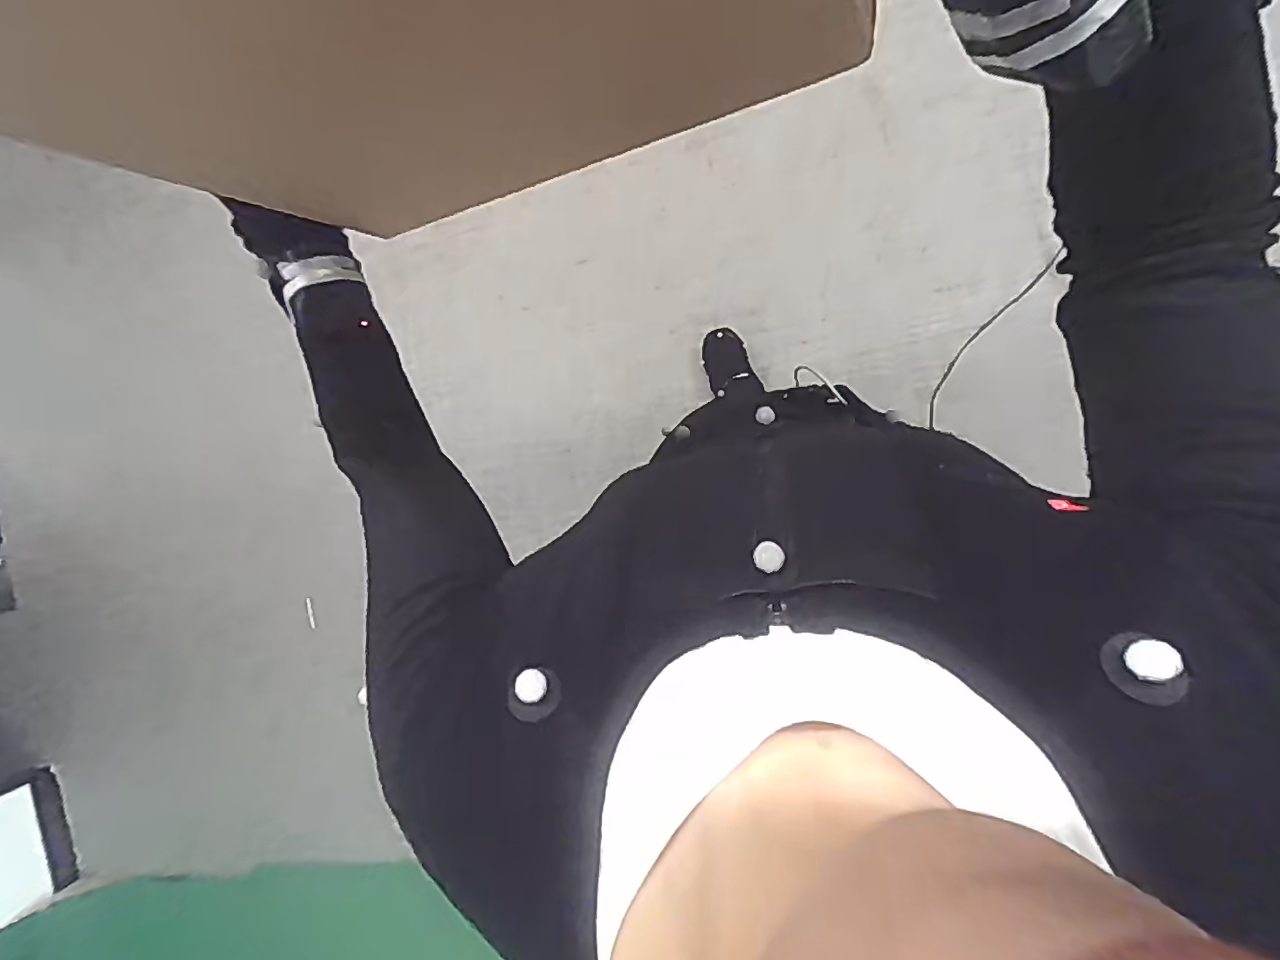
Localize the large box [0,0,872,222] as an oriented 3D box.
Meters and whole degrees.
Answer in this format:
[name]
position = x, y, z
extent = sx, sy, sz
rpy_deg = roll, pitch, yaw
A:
[large box]
position = -0.141, -0.349, 0.223
extent = 0.408, 0.320, 0.320
rpy_deg = 3, 99, 33
